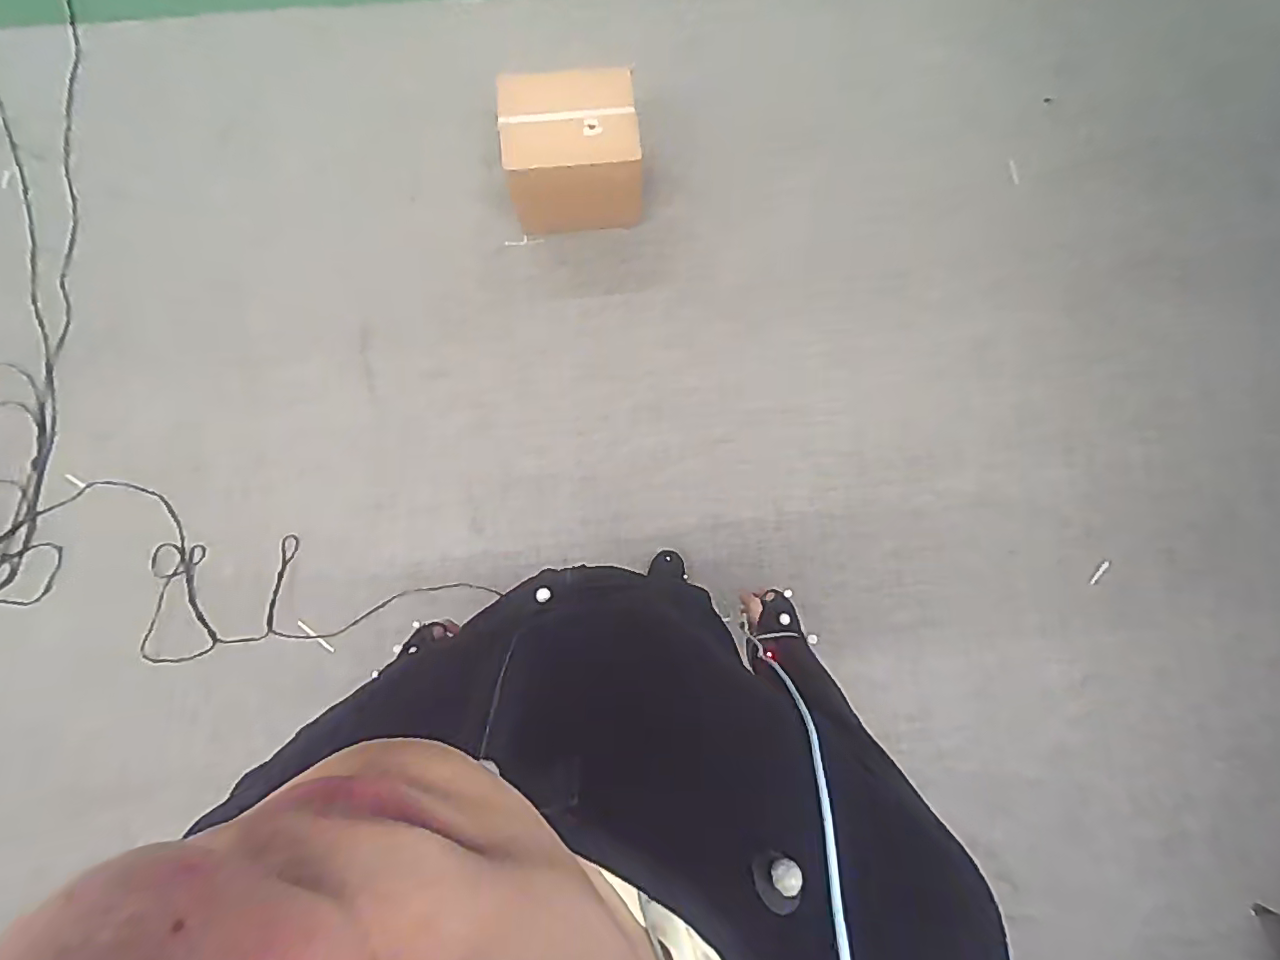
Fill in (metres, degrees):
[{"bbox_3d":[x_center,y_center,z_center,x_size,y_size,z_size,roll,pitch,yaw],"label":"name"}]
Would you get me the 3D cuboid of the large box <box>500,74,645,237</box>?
[{"bbox_3d":[-0.205,-1.018,1.724,0.408,0.320,0.320,-6,81,-3],"label":"large box"}]
